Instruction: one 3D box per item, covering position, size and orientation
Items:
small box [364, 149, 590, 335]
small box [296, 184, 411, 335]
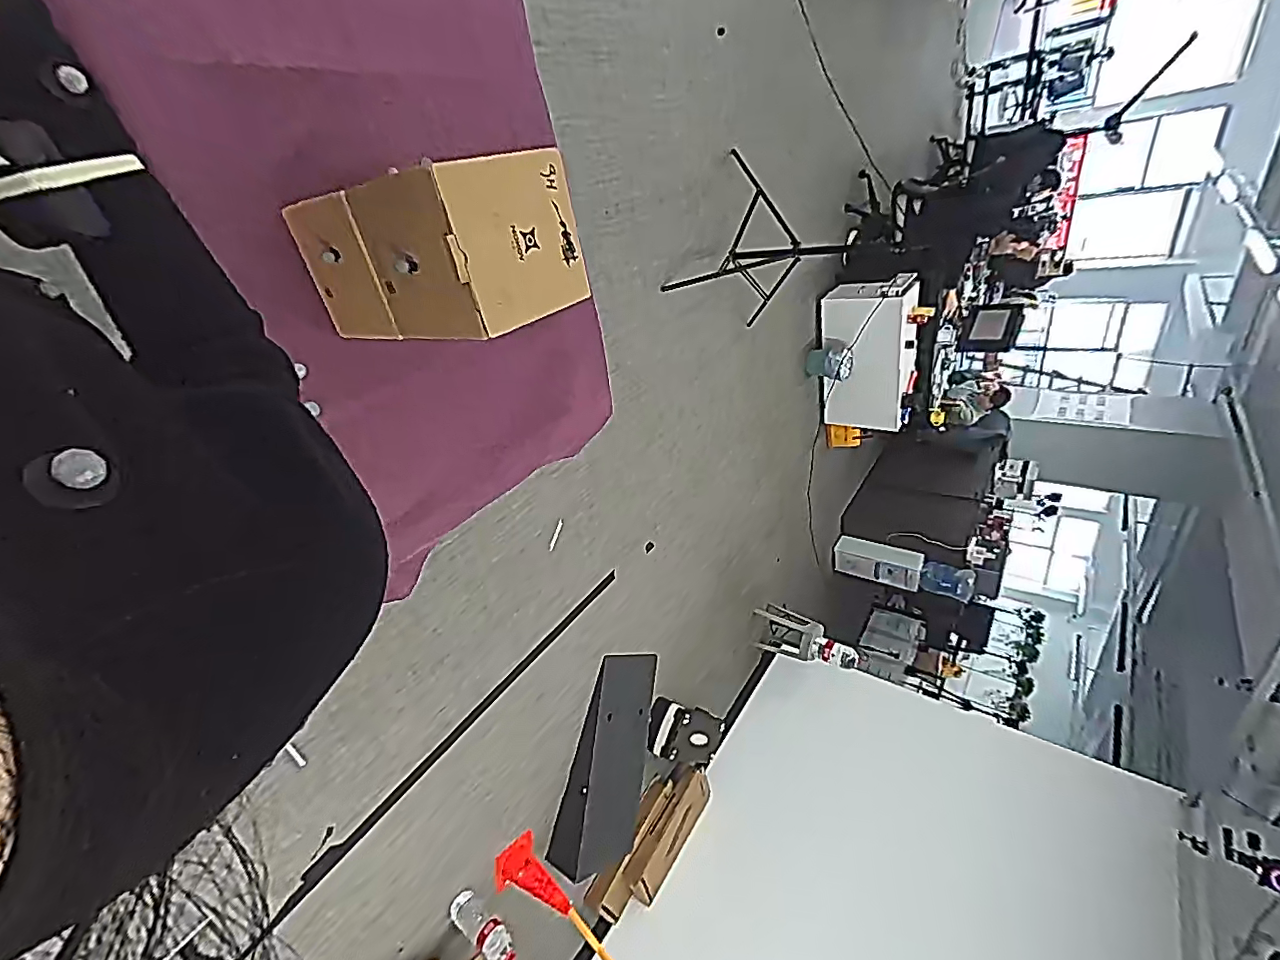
[{"bbox_3d":[-0.191,-0.274,0.635,0.179,0.176,0.168,-40,129,-41],"label":"small box"},{"bbox_3d":[-0.324,-0.300,0.727,0.179,0.176,0.168,-41,131,-40],"label":"small box"}]
